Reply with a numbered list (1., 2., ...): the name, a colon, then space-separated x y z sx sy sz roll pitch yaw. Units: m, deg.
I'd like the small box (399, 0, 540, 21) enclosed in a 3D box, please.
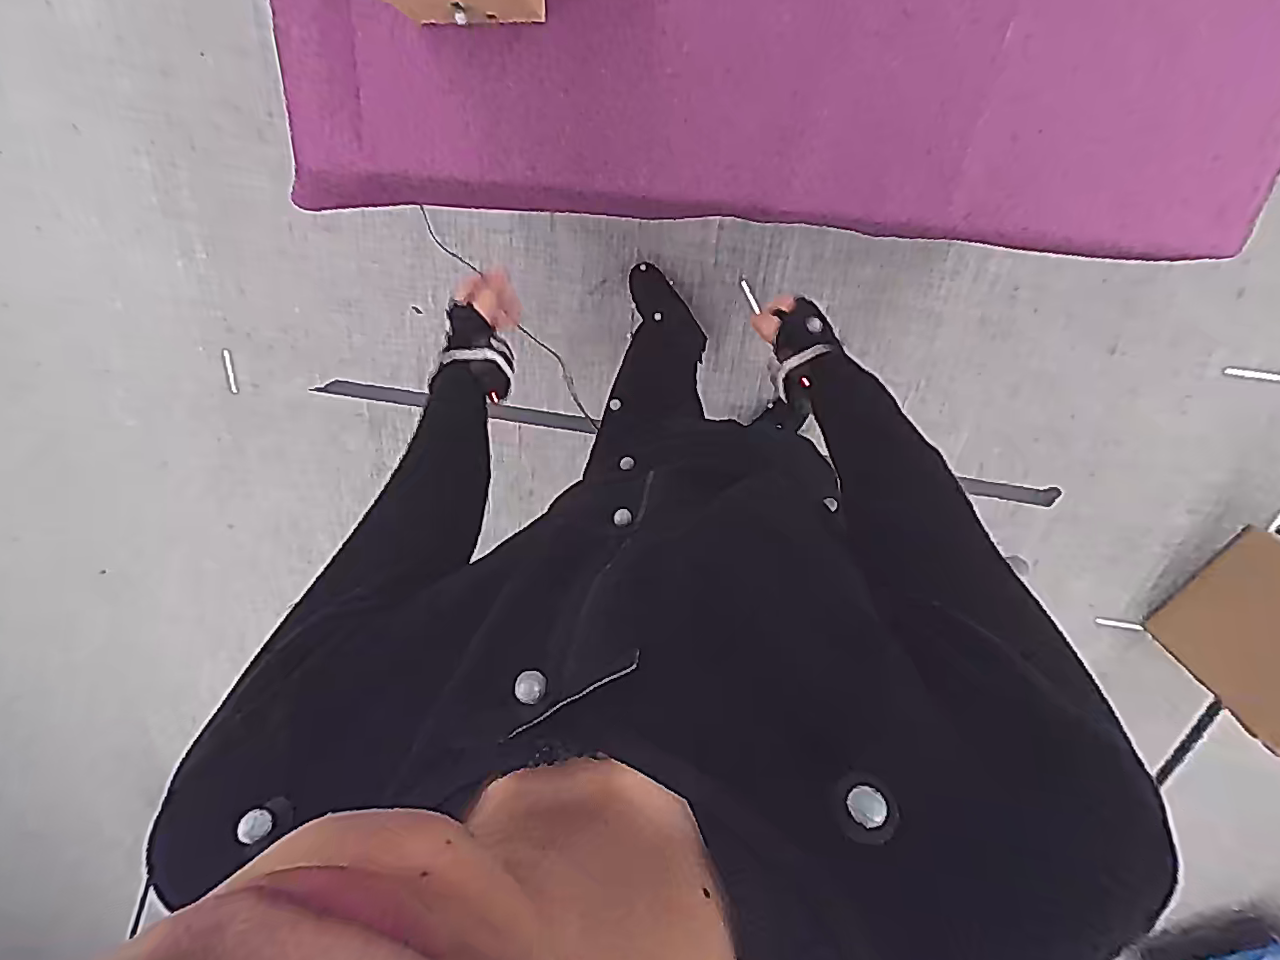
1. small box: -0.204 -0.601 0.543 0.168 0.176 0.179 5 116 6
